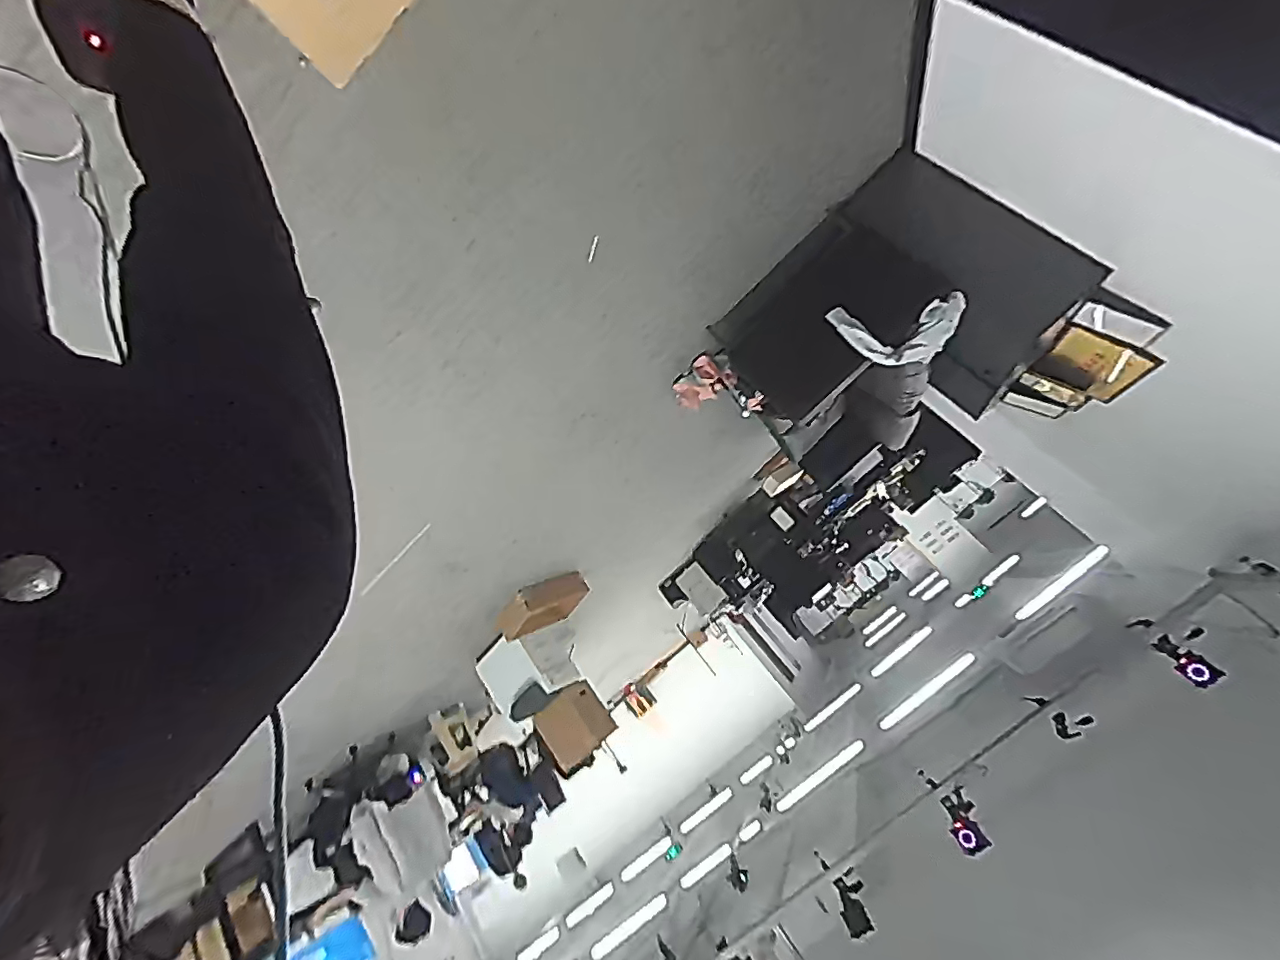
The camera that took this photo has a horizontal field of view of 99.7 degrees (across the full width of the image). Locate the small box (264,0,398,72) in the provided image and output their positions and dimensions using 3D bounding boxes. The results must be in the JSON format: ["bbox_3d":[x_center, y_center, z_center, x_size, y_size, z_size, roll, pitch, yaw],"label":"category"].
[{"bbox_3d":[-0.420,-0.664,0.655,0.168,0.176,0.179,-45,159,9],"label":"small box"}]
